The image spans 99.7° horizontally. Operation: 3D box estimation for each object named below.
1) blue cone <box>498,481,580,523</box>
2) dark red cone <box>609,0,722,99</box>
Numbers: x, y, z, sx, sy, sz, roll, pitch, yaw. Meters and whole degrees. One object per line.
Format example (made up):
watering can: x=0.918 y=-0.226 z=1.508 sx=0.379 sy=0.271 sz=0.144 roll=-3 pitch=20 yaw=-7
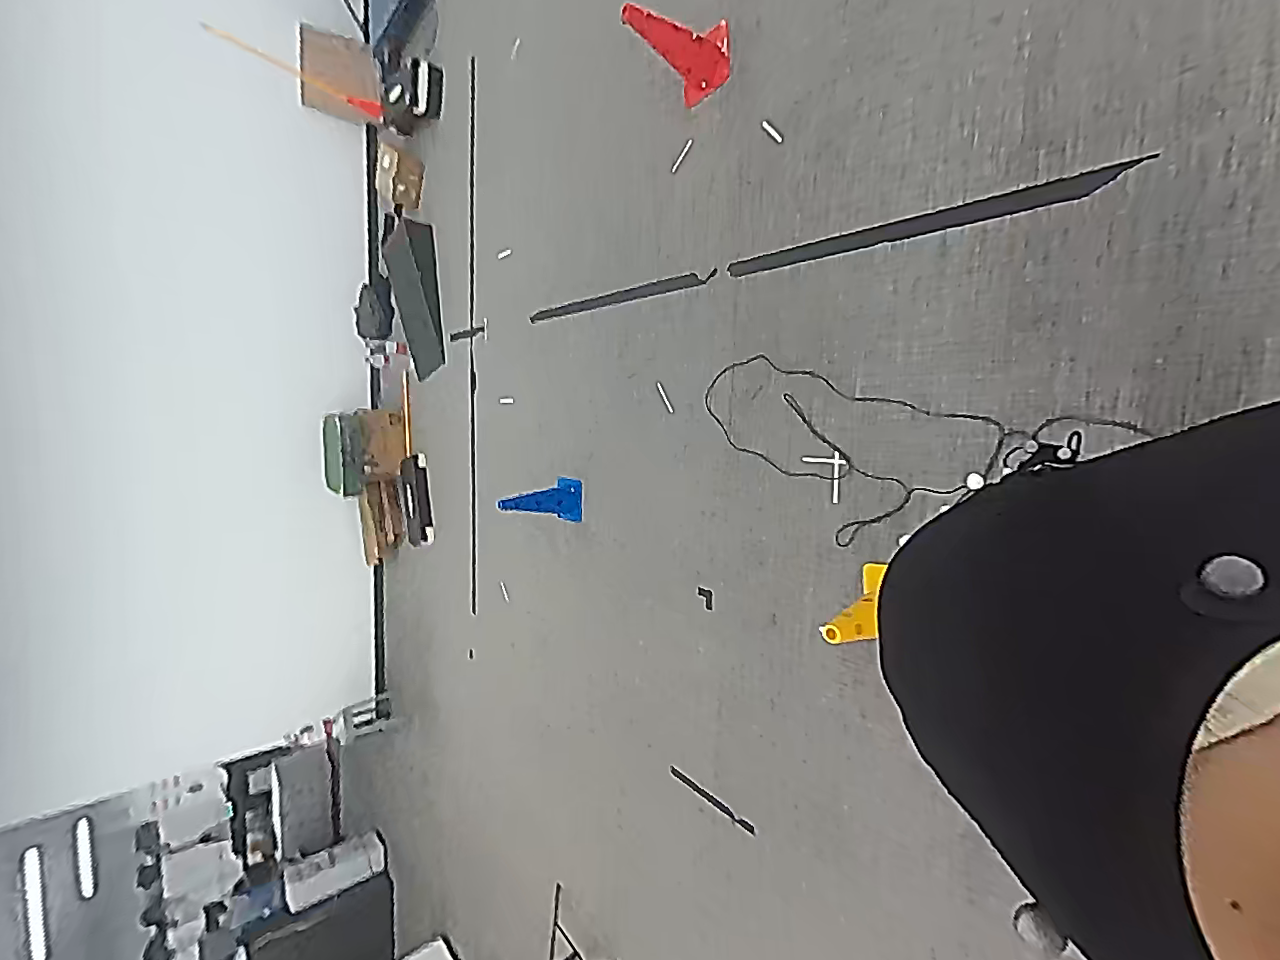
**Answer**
blue cone: x=-0.460 y=0.110 z=2.432 sx=0.193 sy=0.380 sz=0.192 roll=10 pitch=100 yaw=49
dark red cone: x=0.067 y=-1.395 z=1.686 sx=0.202 sy=0.394 sz=0.201 roll=-3 pitch=91 yaw=49
